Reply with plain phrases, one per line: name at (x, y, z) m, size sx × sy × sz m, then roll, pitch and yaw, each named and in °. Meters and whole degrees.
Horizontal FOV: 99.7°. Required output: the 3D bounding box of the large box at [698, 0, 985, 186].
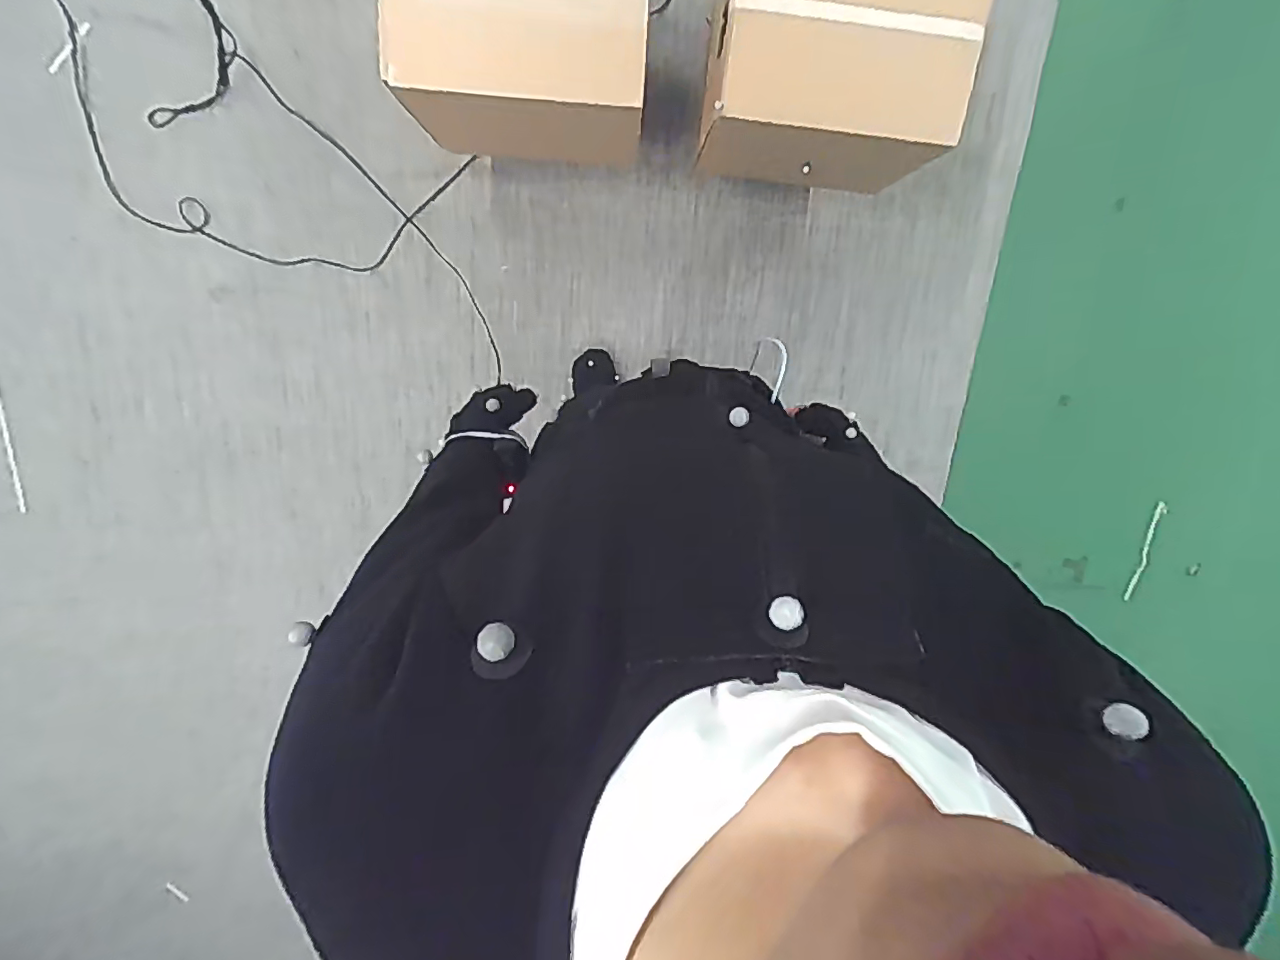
large box at (0.342, -0.766, 1.003) m, size 0.408 × 0.320 × 0.320 m, roll 5°, pitch 104°, yaw -3°
